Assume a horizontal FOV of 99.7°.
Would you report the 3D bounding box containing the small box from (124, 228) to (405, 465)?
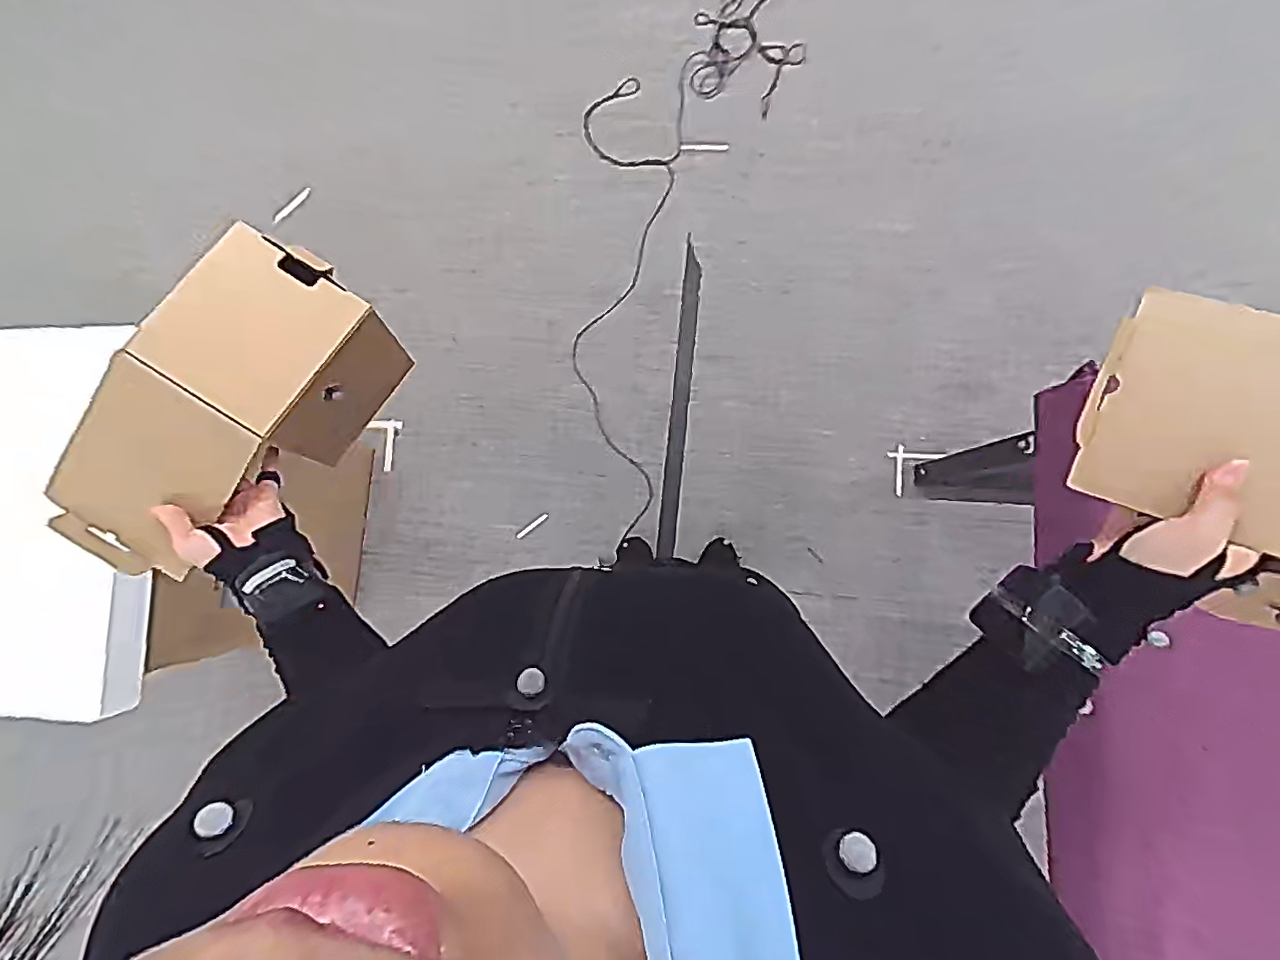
[{"bbox_3d":[-0.406,-0.137,0.627,0.168,0.176,0.179,33,78,-1],"label":"small box"}]
